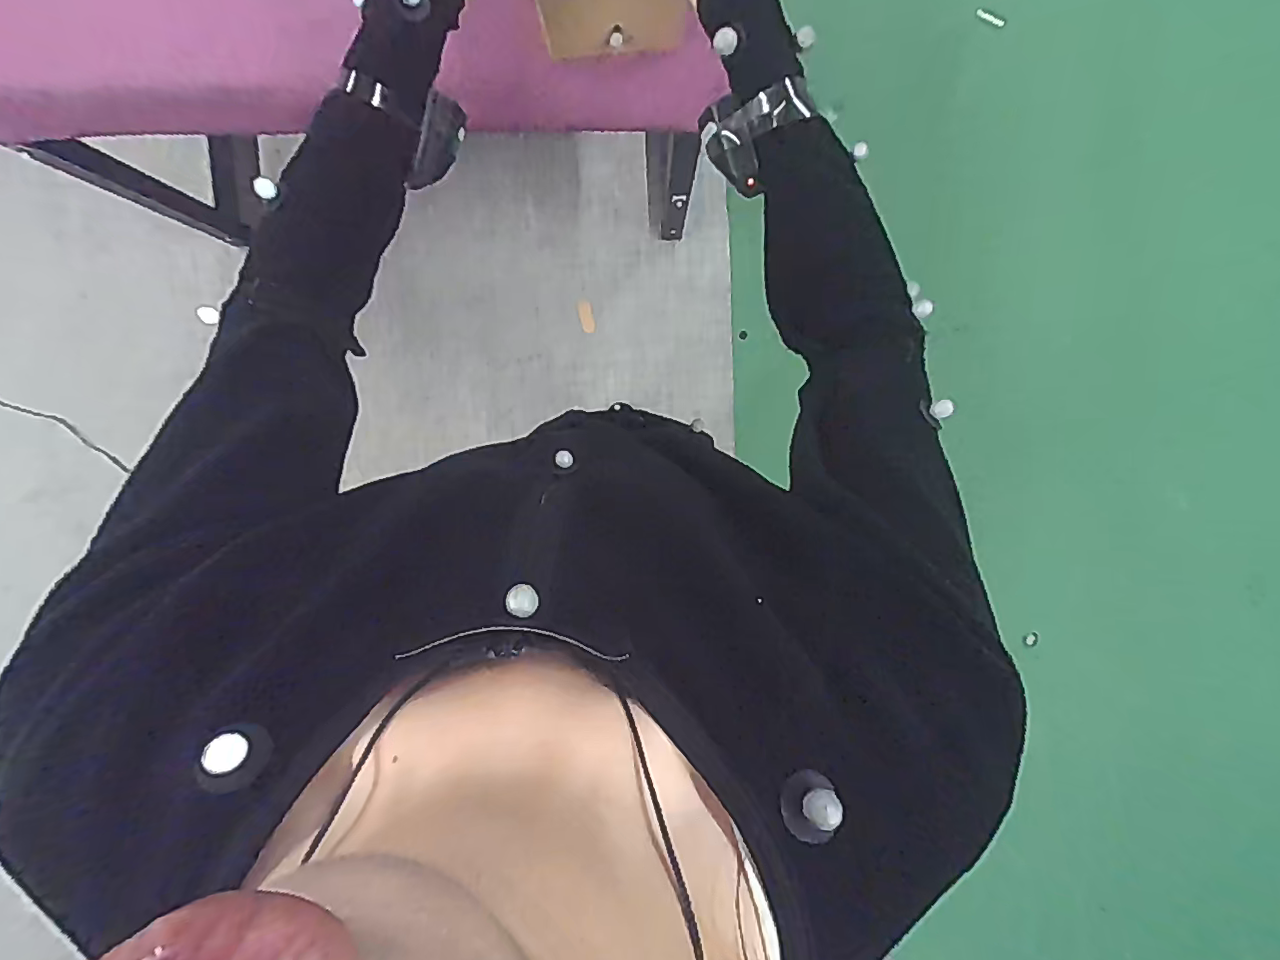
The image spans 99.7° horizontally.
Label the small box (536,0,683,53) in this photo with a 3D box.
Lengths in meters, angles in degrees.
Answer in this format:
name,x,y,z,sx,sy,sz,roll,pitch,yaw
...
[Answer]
name,x,y,z,sx,sy,sz,roll,pitch,yaw
small box,-0.038,-0.630,0.613,0.179,0.176,0.168,-5,96,1
